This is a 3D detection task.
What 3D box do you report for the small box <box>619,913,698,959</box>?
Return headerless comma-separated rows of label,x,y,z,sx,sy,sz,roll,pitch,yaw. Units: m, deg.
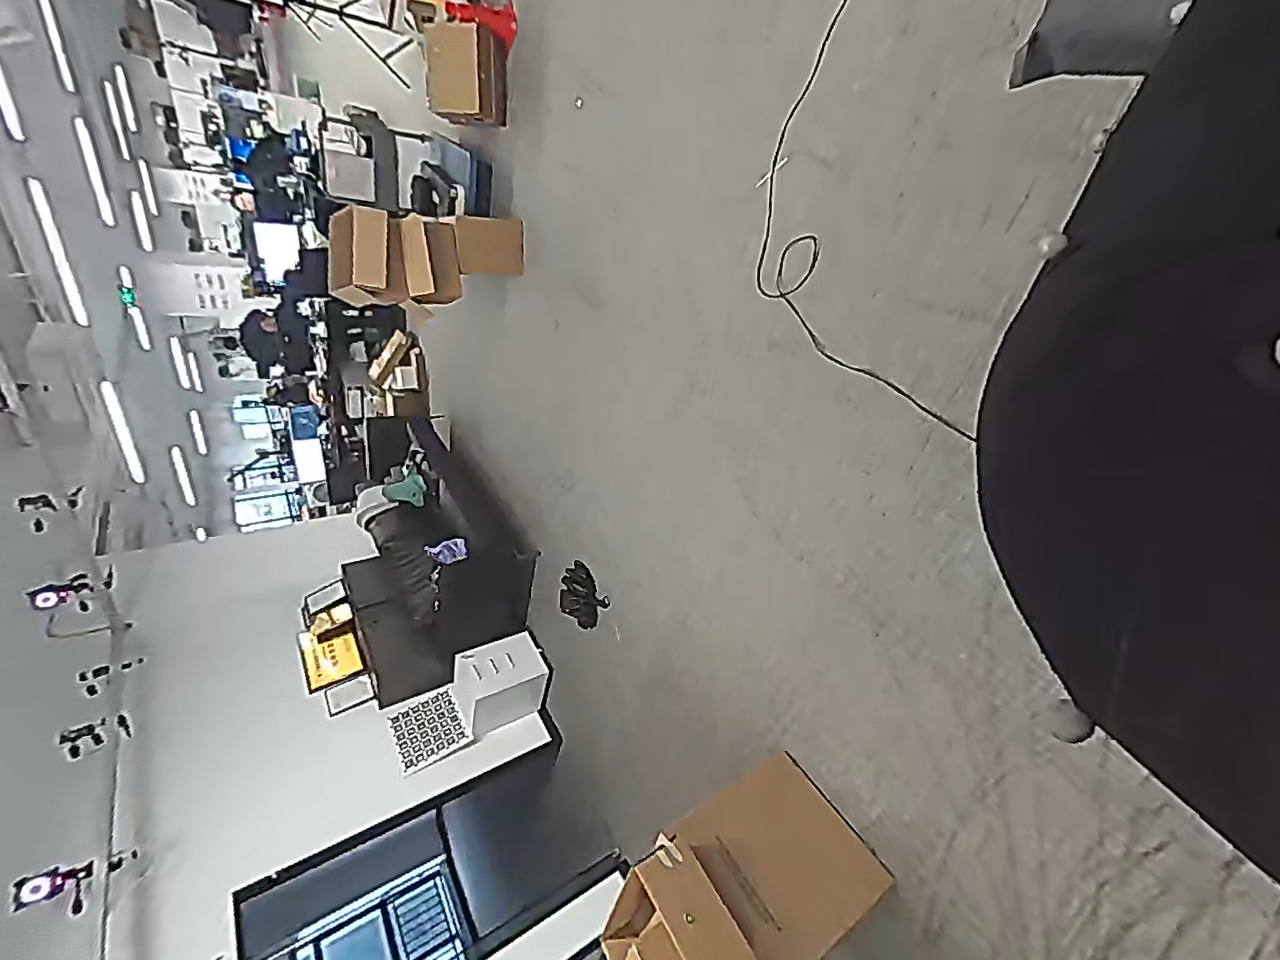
small box,0.060,1.473,1.648,0.179,0.176,0.168,45,135,41
